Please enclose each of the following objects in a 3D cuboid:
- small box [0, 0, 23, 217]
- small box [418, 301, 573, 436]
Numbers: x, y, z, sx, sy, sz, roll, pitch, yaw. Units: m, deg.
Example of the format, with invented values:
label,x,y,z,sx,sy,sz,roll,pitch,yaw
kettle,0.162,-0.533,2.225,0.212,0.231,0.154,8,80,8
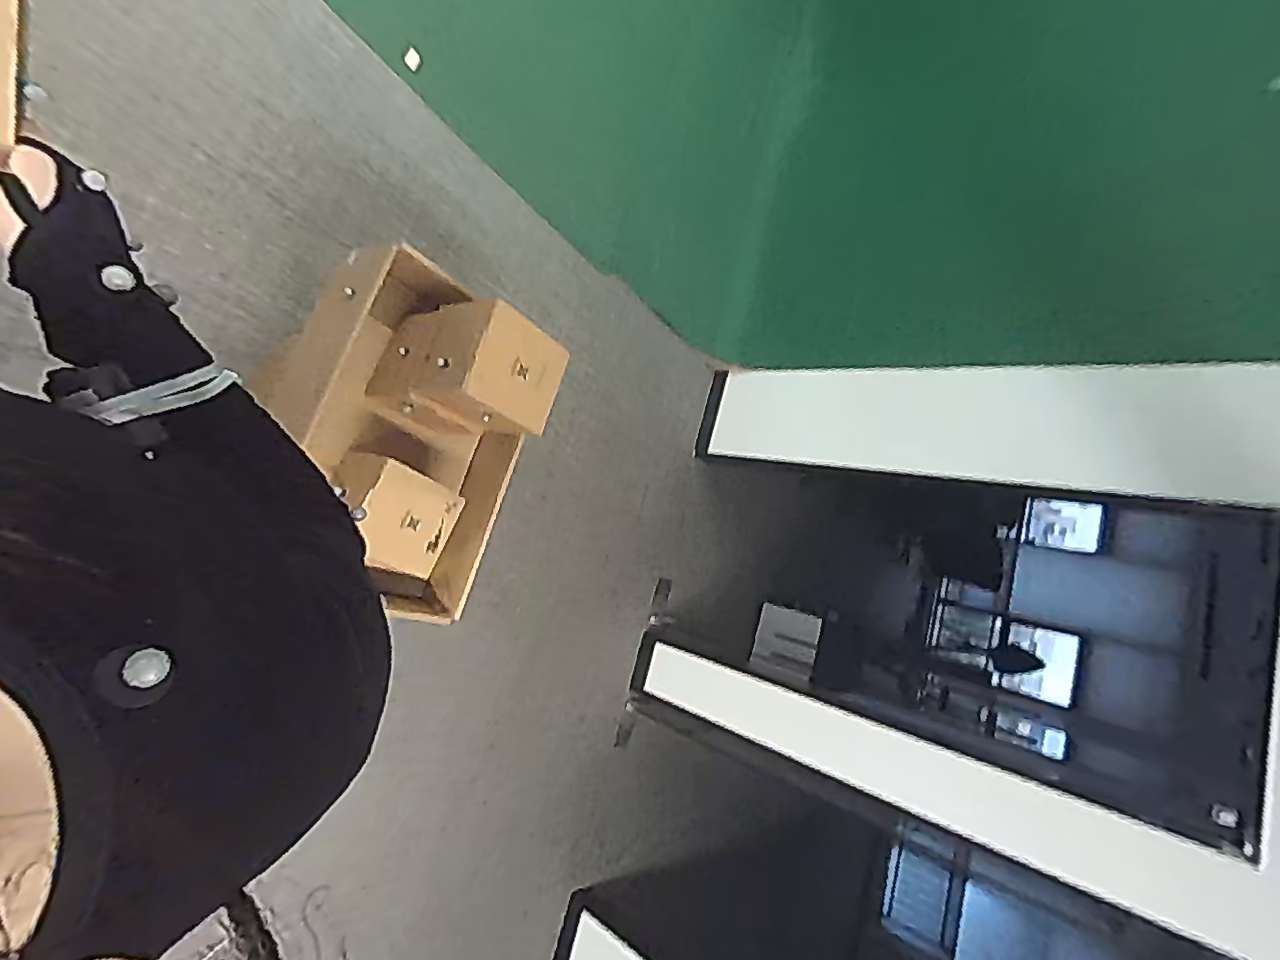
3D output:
label,x,y,z,sx,sy,sz,roll,pitch,yaw
small box,-0.494,-0.279,0.319,0.168,0.176,0.179,0,99,-47
small box,-0.255,-0.188,0.952,0.179,0.176,0.168,32,72,-49
